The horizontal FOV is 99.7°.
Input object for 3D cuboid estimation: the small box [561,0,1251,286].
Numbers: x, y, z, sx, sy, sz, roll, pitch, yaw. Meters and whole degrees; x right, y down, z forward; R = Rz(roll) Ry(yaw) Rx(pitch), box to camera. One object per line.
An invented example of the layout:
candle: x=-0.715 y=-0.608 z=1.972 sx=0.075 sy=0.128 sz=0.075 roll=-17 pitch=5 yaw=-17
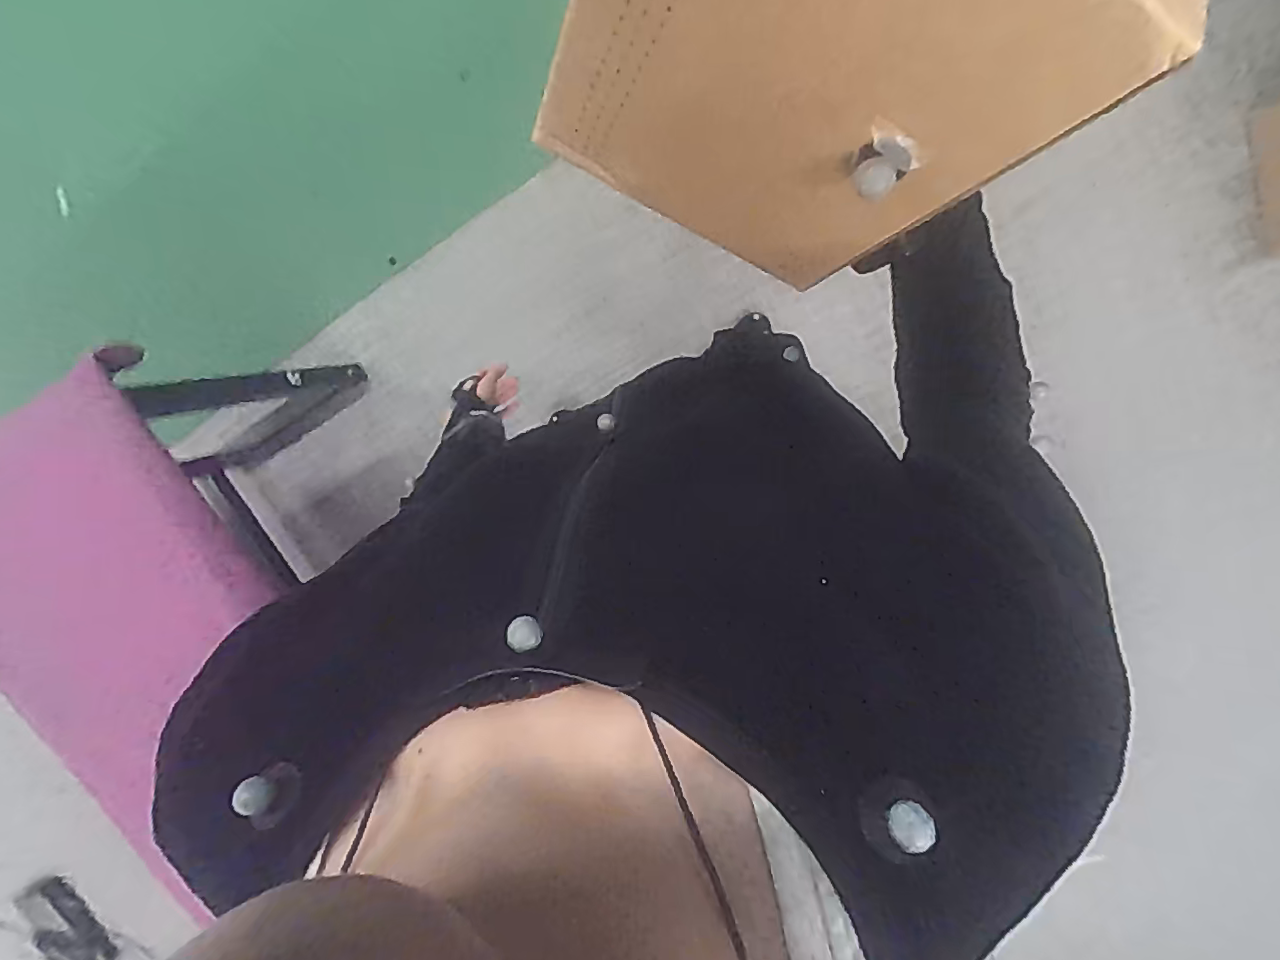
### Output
small box: x=0.082 y=-0.215 z=0.211 sx=0.176 sy=0.179 sz=0.168 roll=21 pitch=78 yaw=-20
